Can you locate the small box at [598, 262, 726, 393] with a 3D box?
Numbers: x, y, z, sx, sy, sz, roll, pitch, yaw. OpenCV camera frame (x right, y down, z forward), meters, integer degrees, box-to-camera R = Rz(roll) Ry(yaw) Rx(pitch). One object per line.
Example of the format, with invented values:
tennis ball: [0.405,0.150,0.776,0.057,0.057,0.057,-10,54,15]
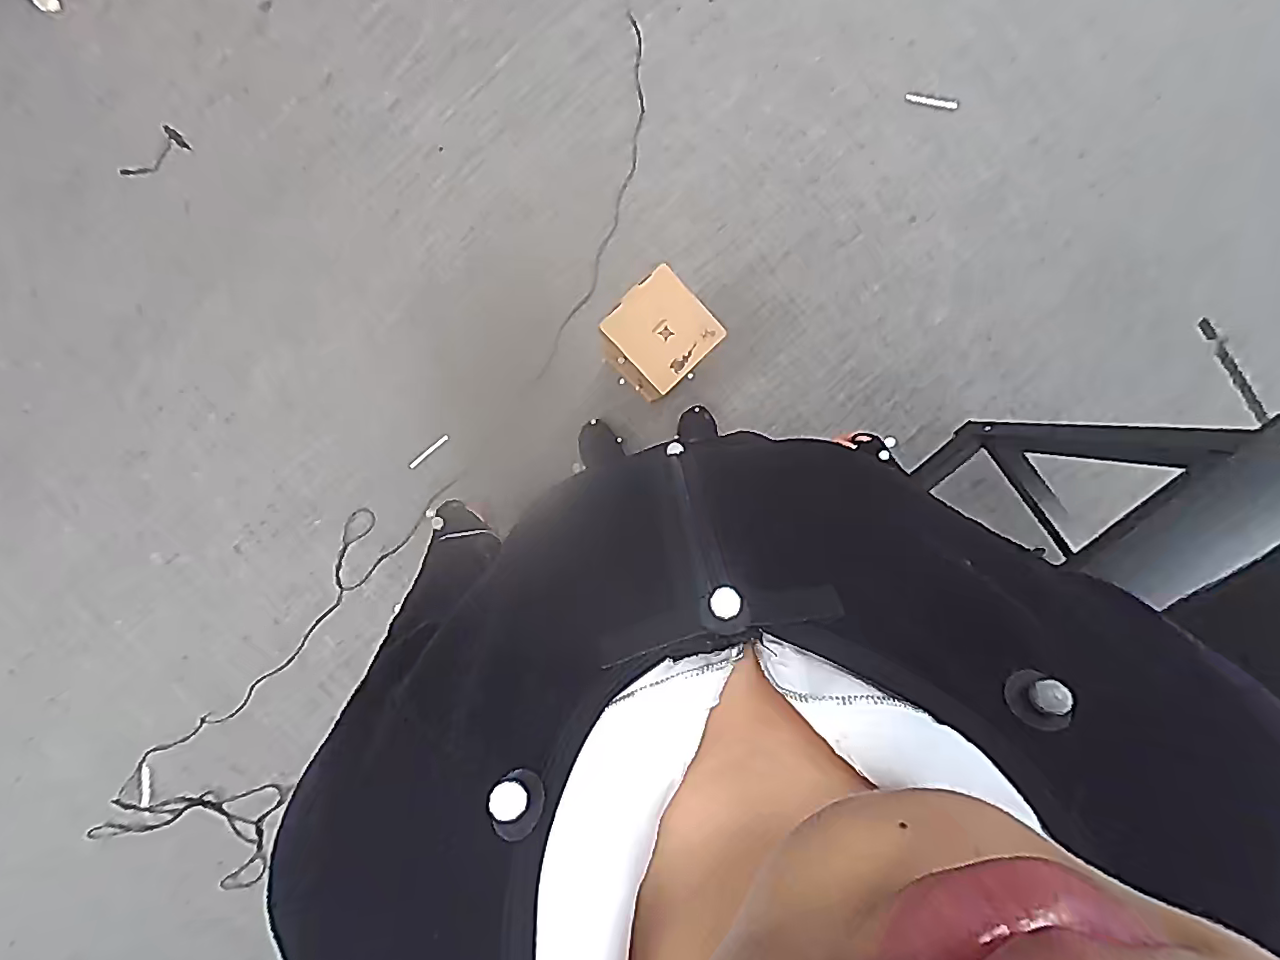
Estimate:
small box: [0.038,-0.284,1.055,0.168,0.176,0.179,-43,96,4]

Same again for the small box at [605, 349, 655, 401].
small box: [0.027,-0.319,1.380,0.179,0.176,0.168,-43,96,5]

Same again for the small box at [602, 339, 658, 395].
small box: [0.033,-0.306,1.218,0.168,0.176,0.179,43,93,-7]
